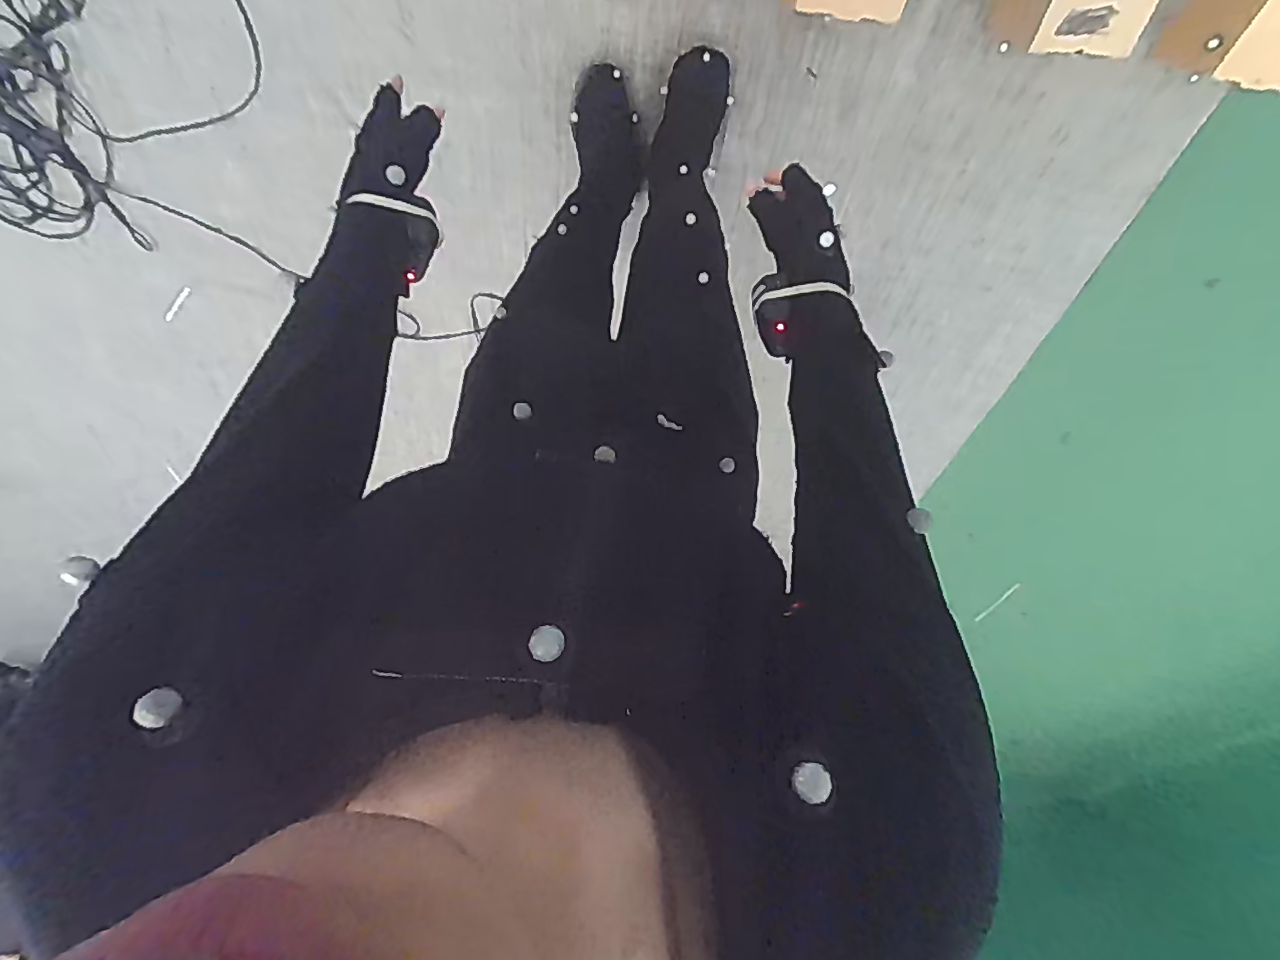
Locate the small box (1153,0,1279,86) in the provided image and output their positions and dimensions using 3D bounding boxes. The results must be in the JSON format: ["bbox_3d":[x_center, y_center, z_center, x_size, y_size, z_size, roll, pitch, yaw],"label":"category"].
[{"bbox_3d":[1.020,-0.779,0.884,0.168,0.176,0.179,7,137,-6],"label":"small box"}]

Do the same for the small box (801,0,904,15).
[{"bbox_3d":[0.327,-0.838,0.817,0.168,0.176,0.179,5,137,-3],"label":"small box"}]

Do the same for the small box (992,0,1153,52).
[{"bbox_3d":[0.699,-0.807,0.853,0.168,0.176,0.179,2,136,-2],"label":"small box"}]
